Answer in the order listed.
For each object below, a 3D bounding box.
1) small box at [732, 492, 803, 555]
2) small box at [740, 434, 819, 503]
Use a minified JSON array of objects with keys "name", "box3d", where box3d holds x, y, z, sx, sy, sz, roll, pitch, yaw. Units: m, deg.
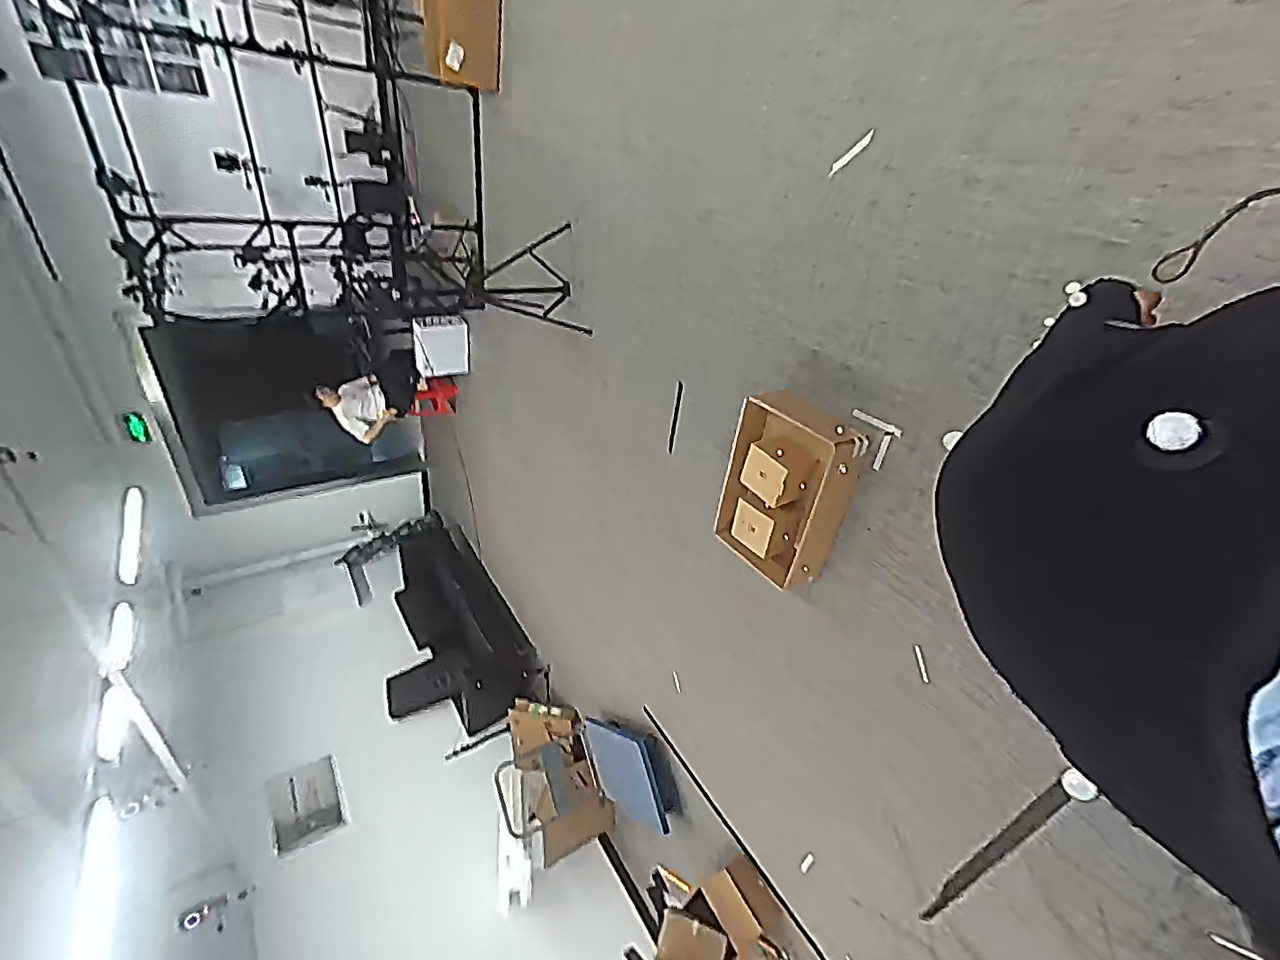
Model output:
[{"name":"small box","box3d":[0.472,0.146,1.998,0.179,0.176,0.168,40,132,43]},{"name":"small box","box3d":[0.489,-0.046,1.897,0.179,0.176,0.168,46,139,37]}]
